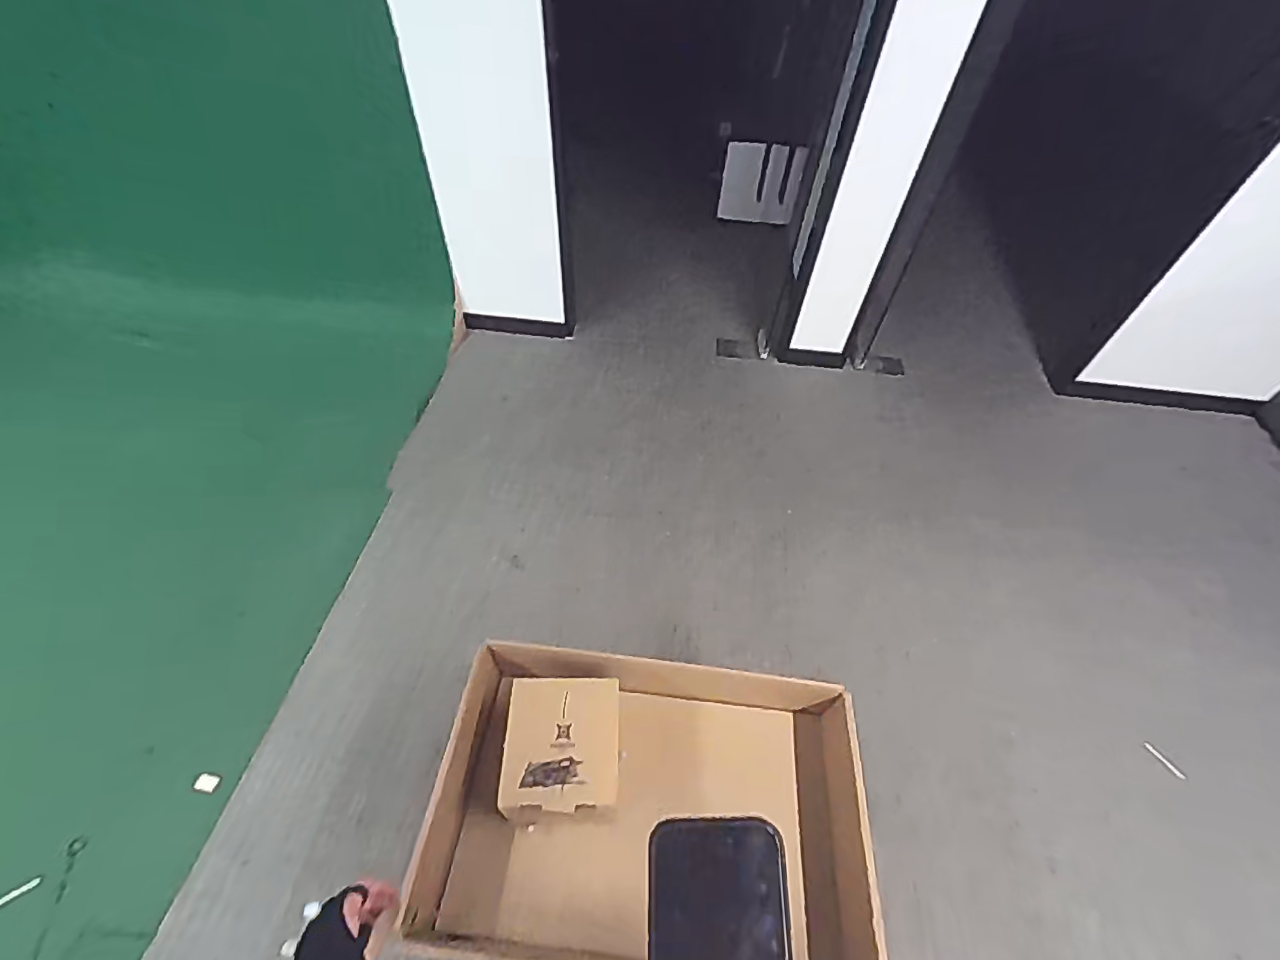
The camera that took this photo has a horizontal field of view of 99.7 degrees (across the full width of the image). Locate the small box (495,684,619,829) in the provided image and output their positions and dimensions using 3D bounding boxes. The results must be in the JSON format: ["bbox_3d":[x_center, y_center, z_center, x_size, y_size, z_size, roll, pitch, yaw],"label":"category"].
[{"bbox_3d":[-0.117,0.433,0.842,0.168,0.176,0.179,1,49,-3],"label":"small box"}]
